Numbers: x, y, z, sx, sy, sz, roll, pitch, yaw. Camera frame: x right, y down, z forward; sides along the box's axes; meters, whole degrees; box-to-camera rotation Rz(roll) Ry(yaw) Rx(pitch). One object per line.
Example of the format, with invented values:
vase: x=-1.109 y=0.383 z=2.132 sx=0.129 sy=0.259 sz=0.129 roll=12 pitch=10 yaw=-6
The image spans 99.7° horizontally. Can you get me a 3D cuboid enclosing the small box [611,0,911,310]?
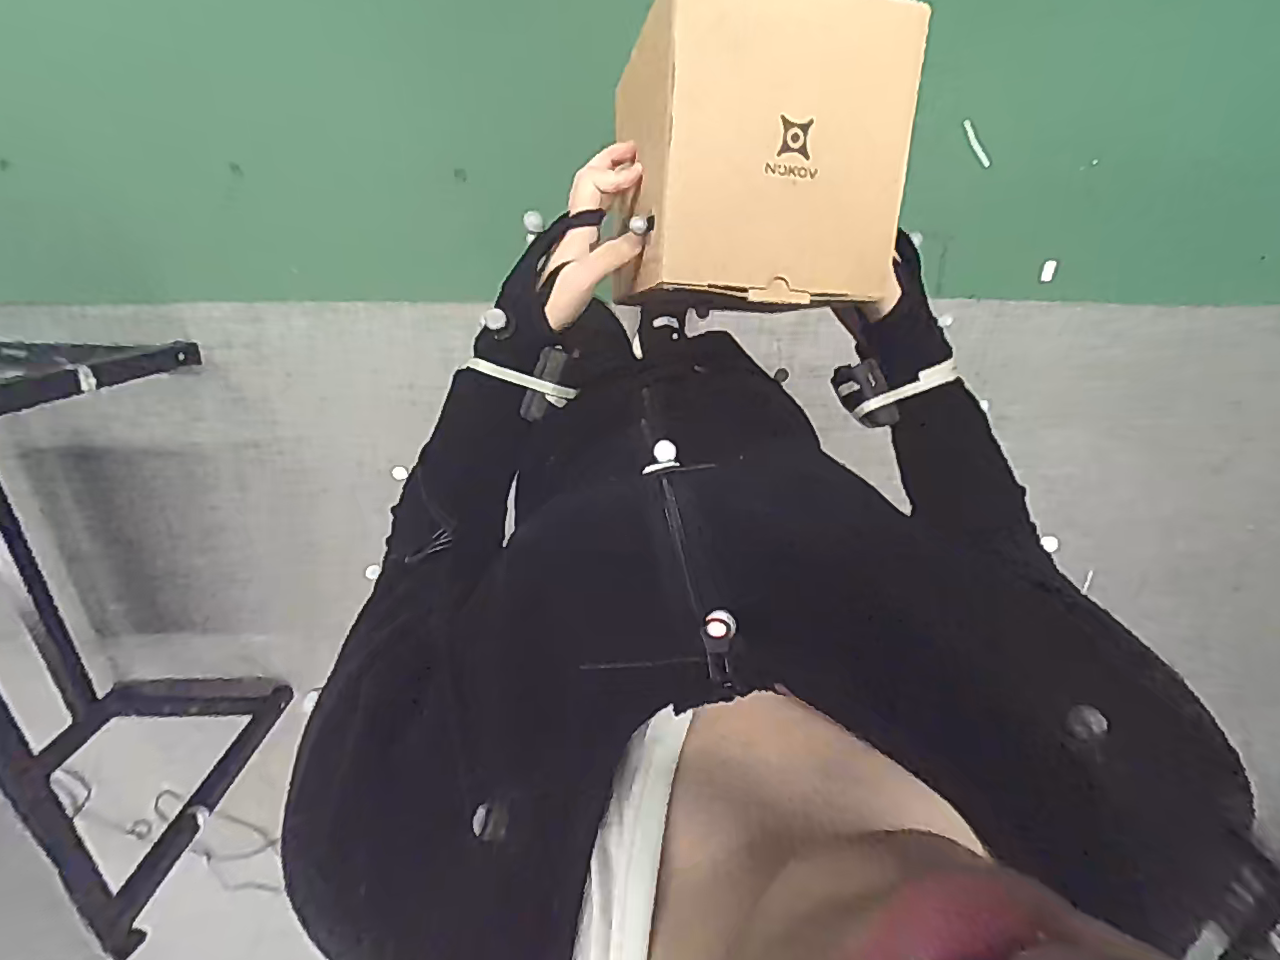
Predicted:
small box: x=0.072 y=-0.229 z=0.420 sx=0.168 sy=0.176 sz=0.179 roll=-3 pitch=106 yaw=-14
